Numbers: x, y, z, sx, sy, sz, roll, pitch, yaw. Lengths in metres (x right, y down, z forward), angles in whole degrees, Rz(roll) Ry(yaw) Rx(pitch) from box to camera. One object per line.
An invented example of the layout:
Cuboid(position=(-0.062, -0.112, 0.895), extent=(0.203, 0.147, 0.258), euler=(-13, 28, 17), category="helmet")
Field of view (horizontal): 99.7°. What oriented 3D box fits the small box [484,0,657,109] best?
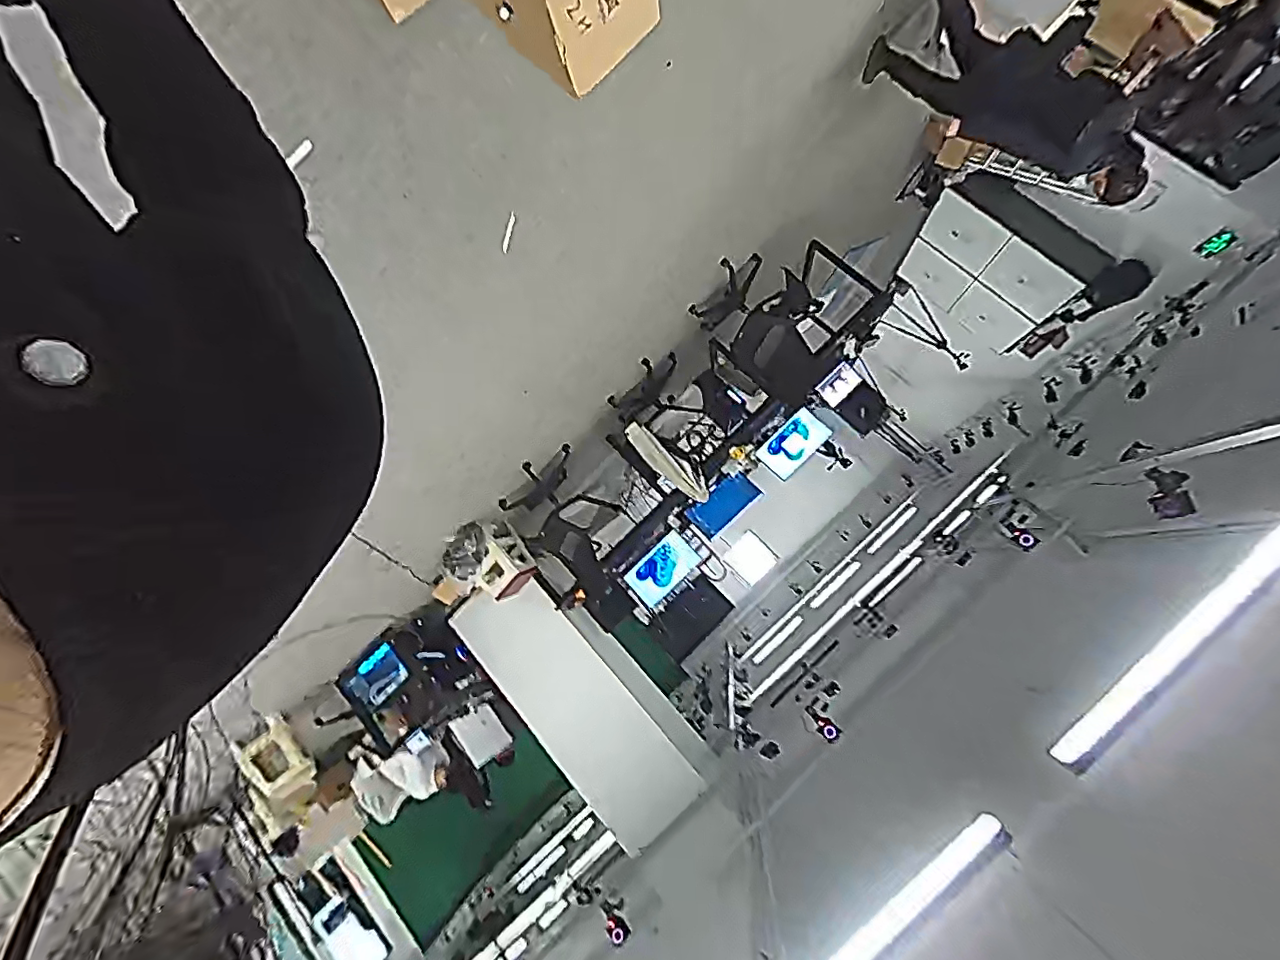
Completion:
Cuboid(position=(-0.102, -0.679, 0.743), extent=(0.179, 0.176, 0.168), euler=(-44, 167, 0), category="small box")
